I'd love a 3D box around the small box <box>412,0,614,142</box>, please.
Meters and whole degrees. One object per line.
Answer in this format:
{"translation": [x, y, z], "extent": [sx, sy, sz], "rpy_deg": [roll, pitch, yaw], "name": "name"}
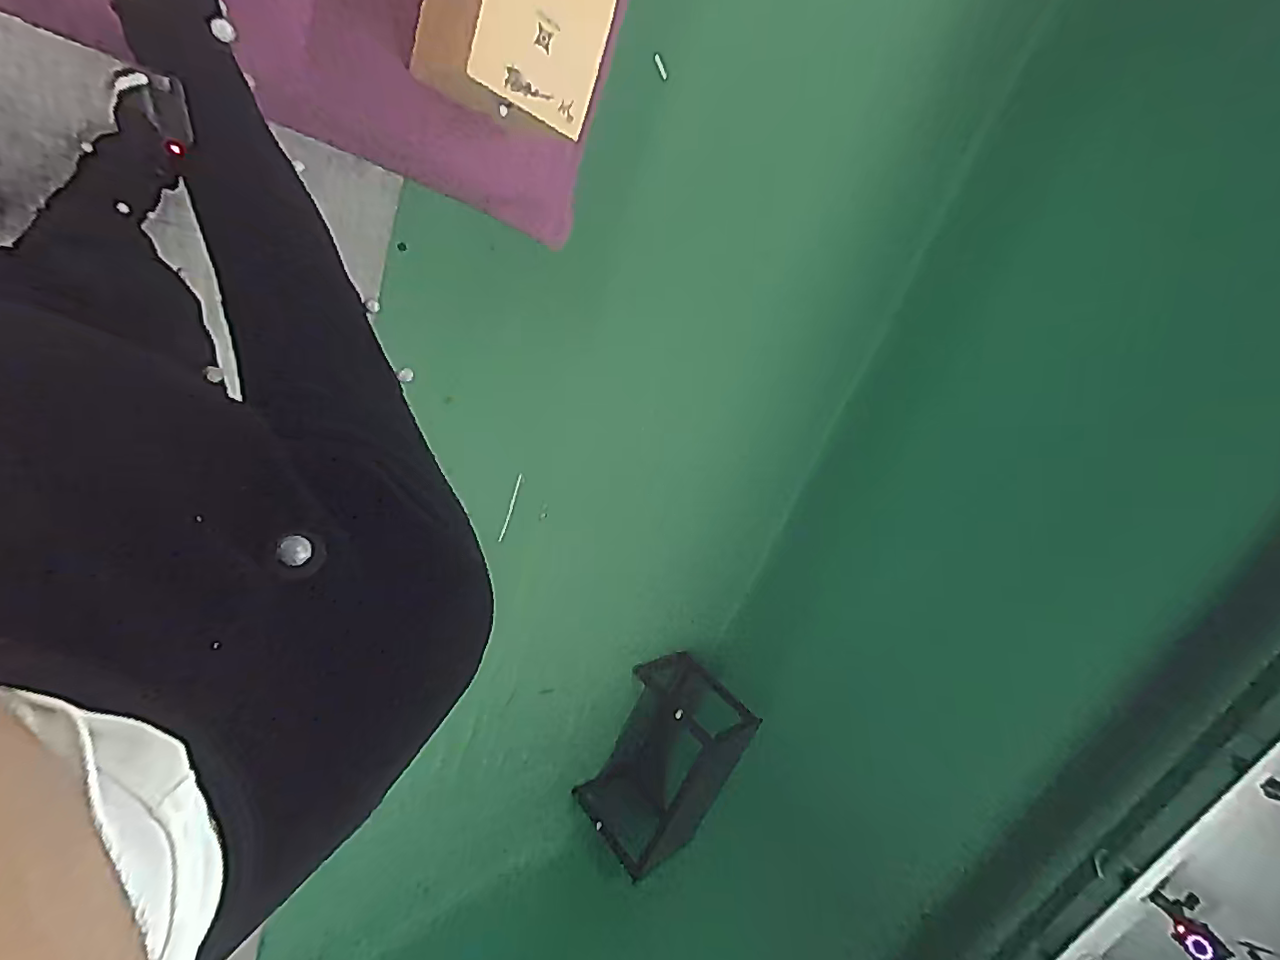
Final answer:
{"translation": [-0.167, -0.566, 0.687], "extent": [0.168, 0.176, 0.179], "rpy_deg": [1, 116, -47], "name": "small box"}
